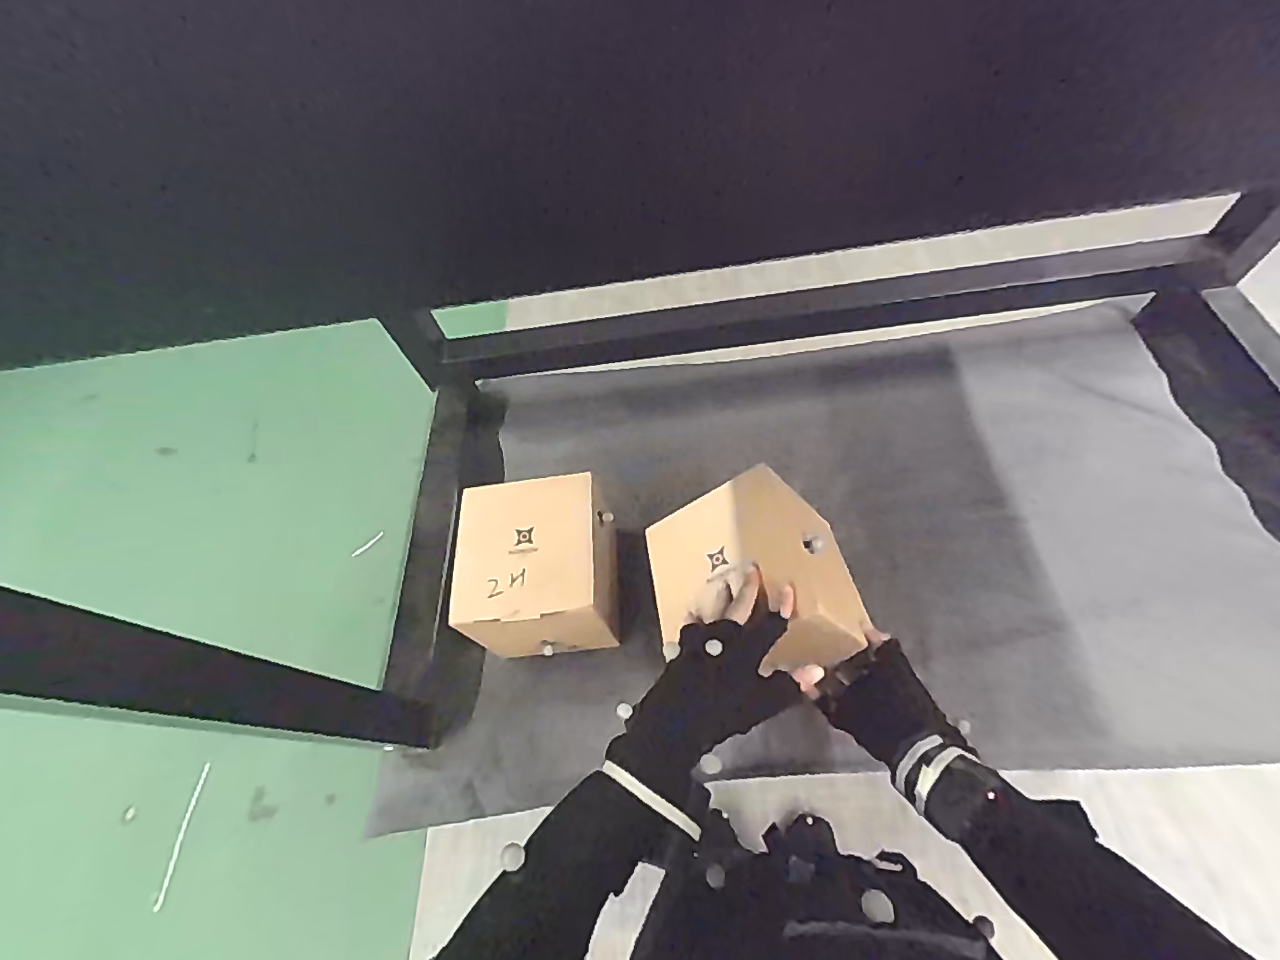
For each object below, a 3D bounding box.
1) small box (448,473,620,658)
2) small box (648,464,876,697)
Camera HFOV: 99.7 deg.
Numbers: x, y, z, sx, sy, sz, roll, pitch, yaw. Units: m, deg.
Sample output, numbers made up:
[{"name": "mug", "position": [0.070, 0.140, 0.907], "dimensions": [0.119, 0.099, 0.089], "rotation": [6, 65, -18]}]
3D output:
[{"name": "small box", "position": [-0.122, 0.114, 0.693], "dimensions": [0.168, 0.176, 0.179], "rotation": [-8, 58, 6]}, {"name": "small box", "position": [0.131, 0.119, 0.603], "dimensions": [0.168, 0.176, 0.179], "rotation": [-32, 45, 25]}]
